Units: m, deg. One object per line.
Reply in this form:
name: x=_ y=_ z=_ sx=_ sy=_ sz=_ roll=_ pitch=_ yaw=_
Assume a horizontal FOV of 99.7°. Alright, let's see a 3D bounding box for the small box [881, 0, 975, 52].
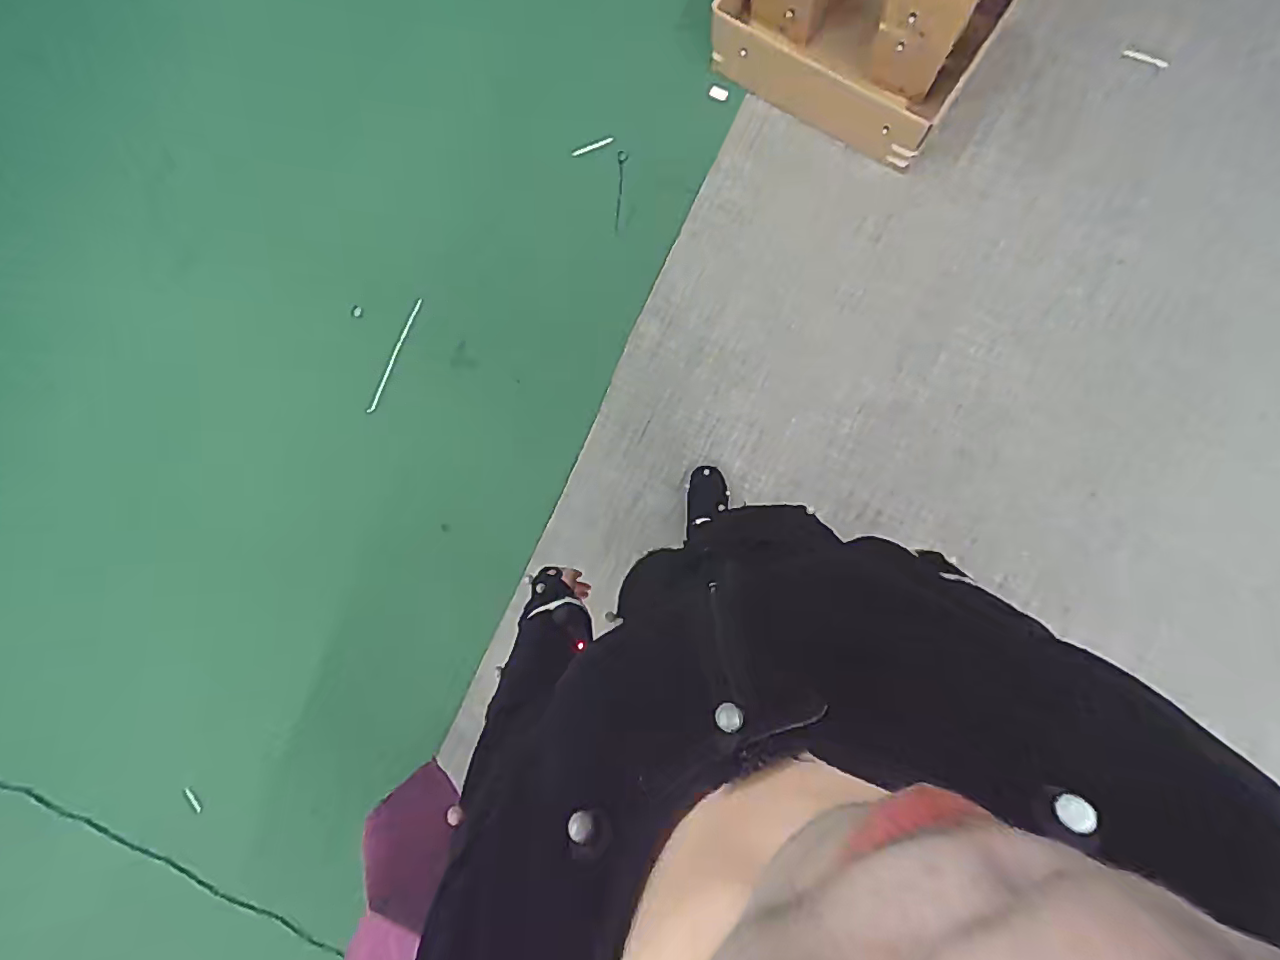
small box: x=0.634 y=-1.064 z=1.127 sx=0.168 sy=0.176 sz=0.179 roll=33 pitch=96 yaw=8
